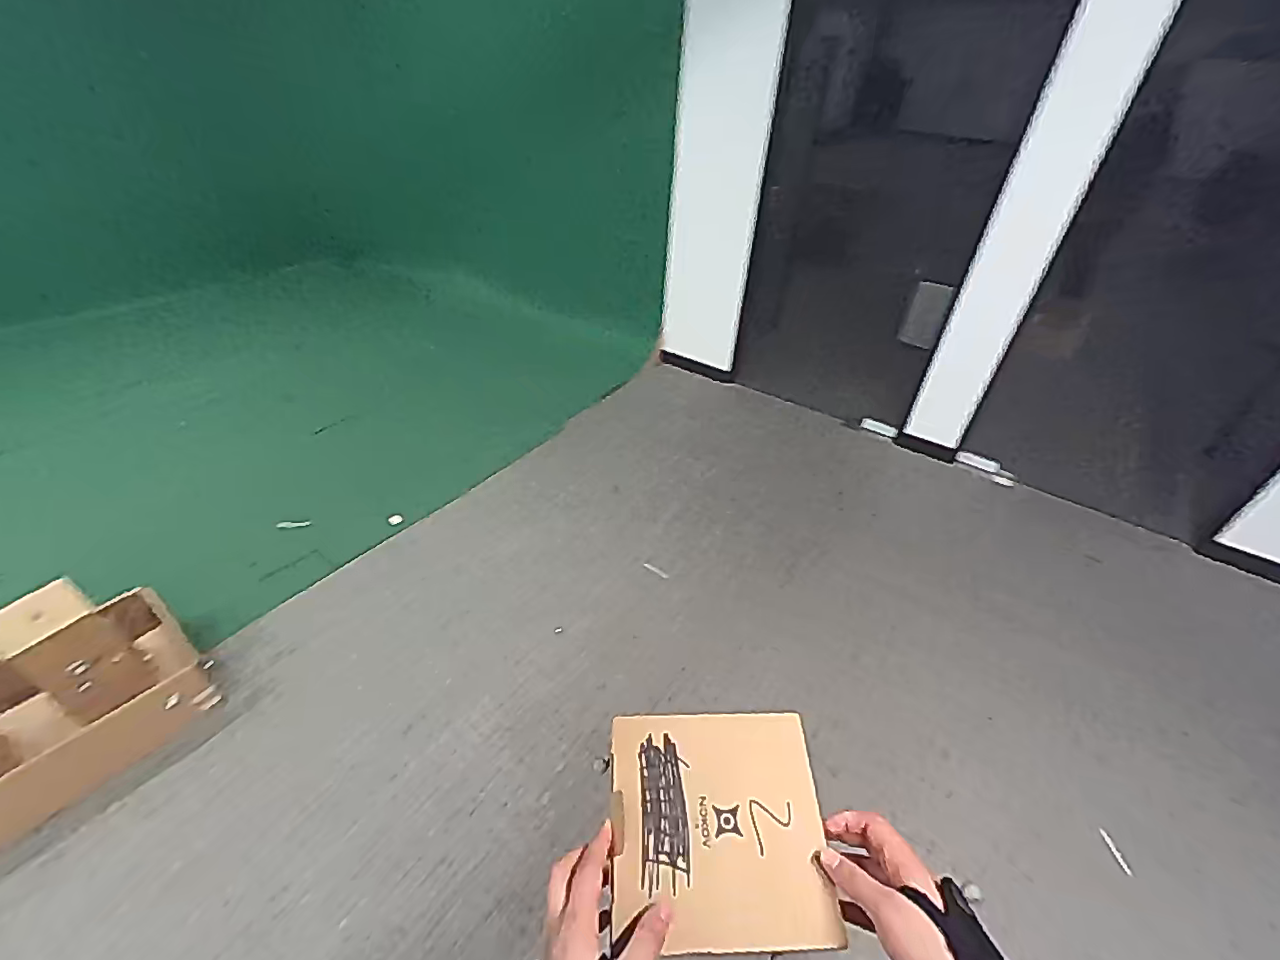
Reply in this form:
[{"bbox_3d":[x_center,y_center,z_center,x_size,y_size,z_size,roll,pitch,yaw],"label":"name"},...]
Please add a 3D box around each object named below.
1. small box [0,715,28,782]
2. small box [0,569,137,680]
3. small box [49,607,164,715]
[{"bbox_3d":[-1.589,0.626,1.244,0.179,0.176,0.168,27,44,25],"label":"small box"},{"bbox_3d":[-1.415,0.360,1.336,0.179,0.176,0.168,26,46,21],"label":"small box"},{"bbox_3d":[-1.426,0.484,1.441,0.179,0.176,0.168,32,47,29],"label":"small box"}]
